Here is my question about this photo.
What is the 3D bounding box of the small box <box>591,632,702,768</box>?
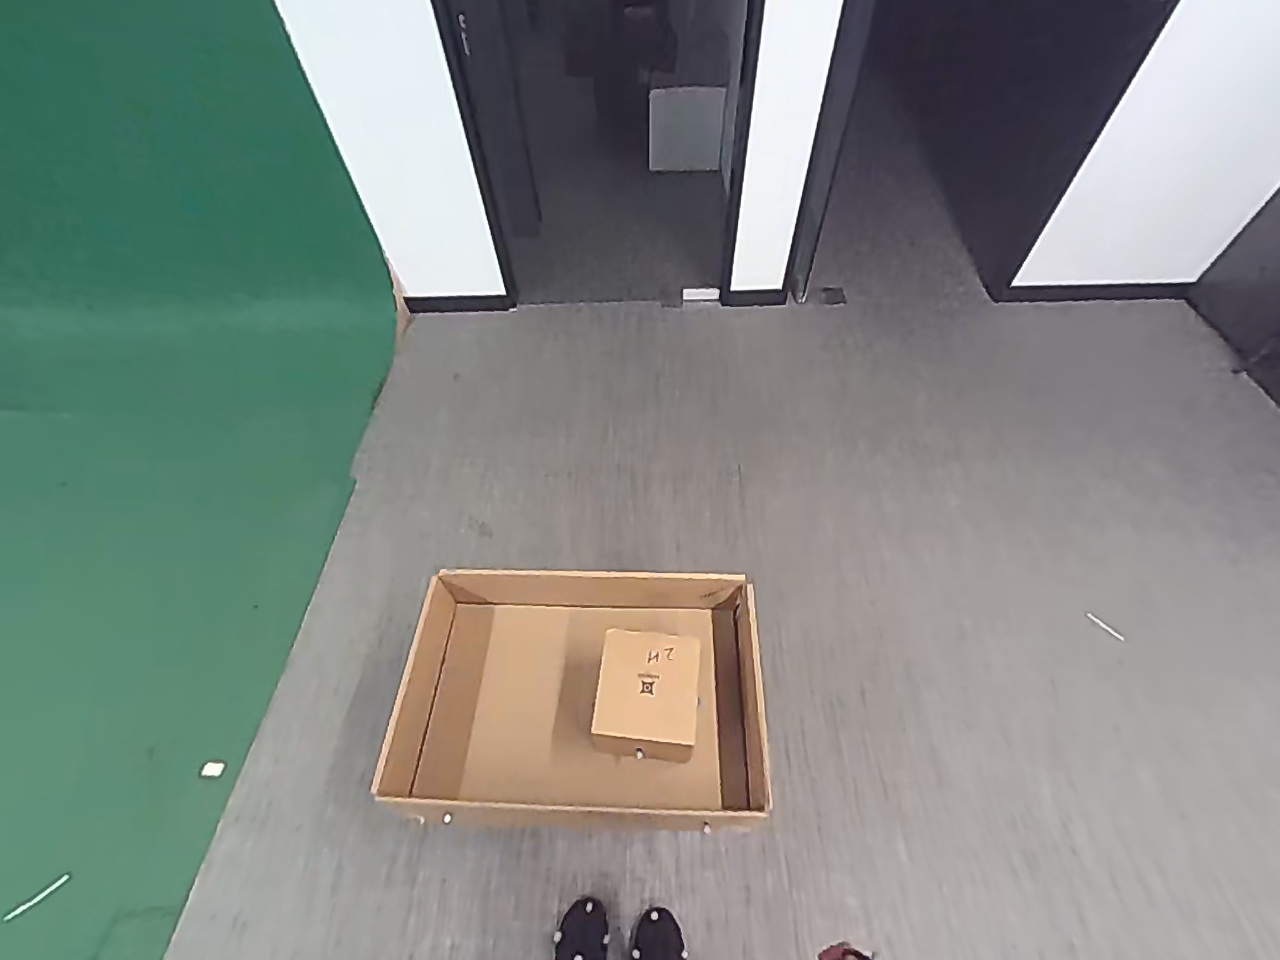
[{"bbox_3d":[0.017,0.386,0.940,0.168,0.176,0.179,5,53,5],"label":"small box"}]
